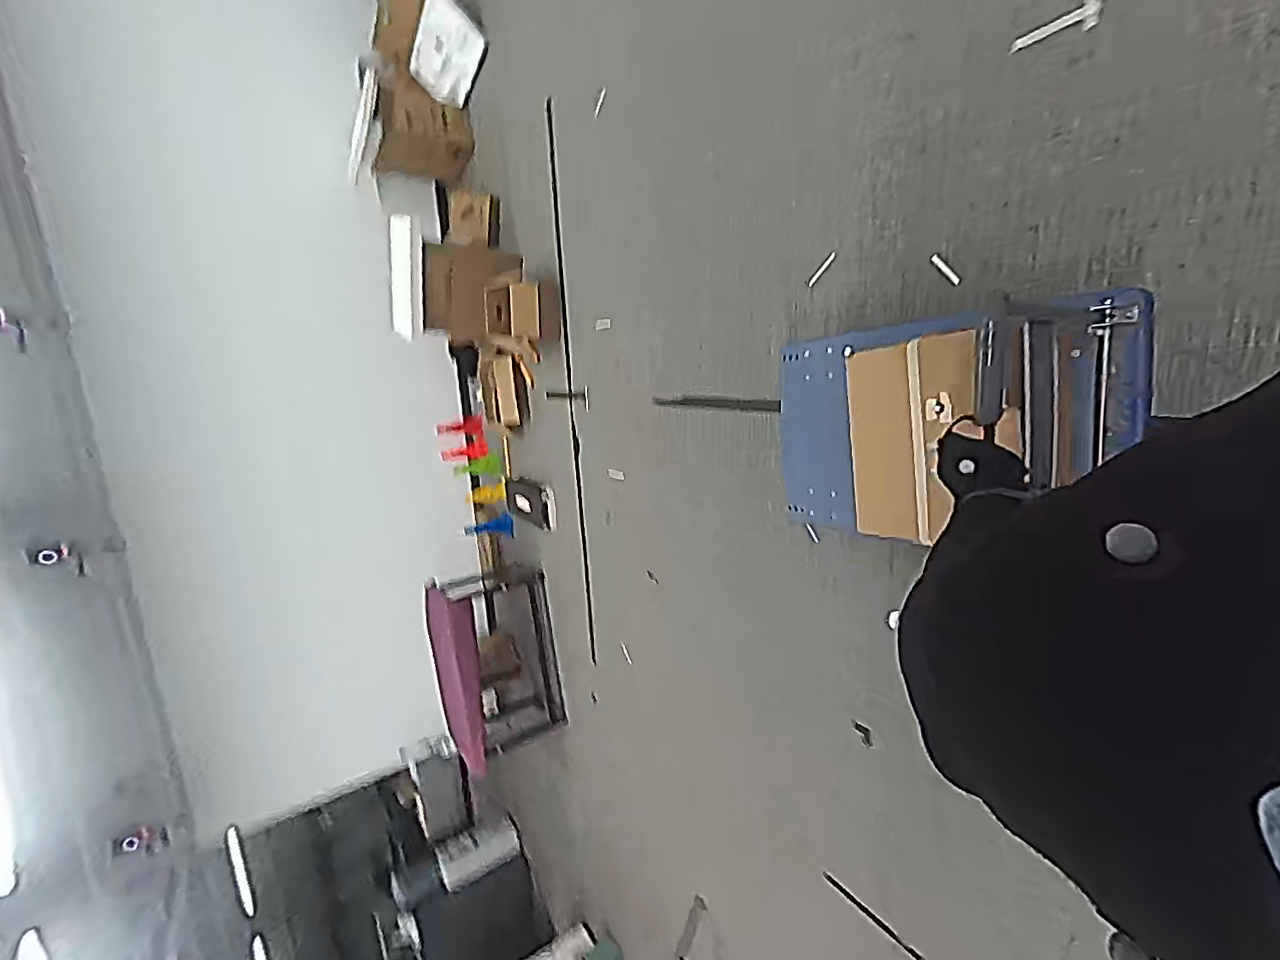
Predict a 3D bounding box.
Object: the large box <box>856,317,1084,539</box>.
[{"bbox_3d":[0.702,-0.108,1.158,0.320,0.320,0.408,2,100,55],"label":"large box"}]
